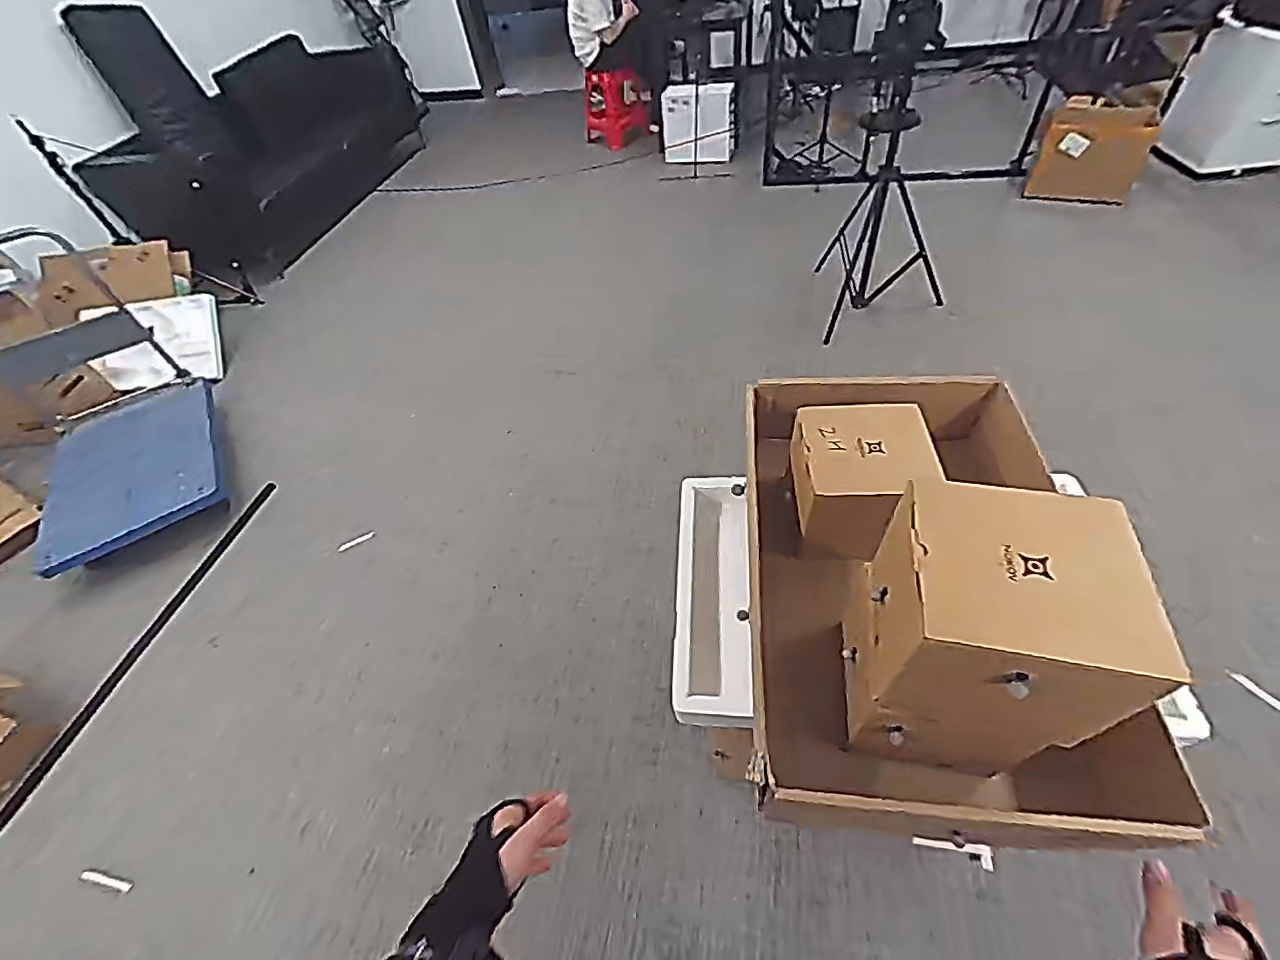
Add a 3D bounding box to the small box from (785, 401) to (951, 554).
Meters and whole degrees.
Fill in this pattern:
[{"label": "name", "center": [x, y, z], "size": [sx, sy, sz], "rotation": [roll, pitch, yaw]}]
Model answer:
[{"label": "small box", "center": [0.323, 0.000, 0.808], "size": [0.179, 0.176, 0.168], "rotation": [-1, 52, 6]}]
